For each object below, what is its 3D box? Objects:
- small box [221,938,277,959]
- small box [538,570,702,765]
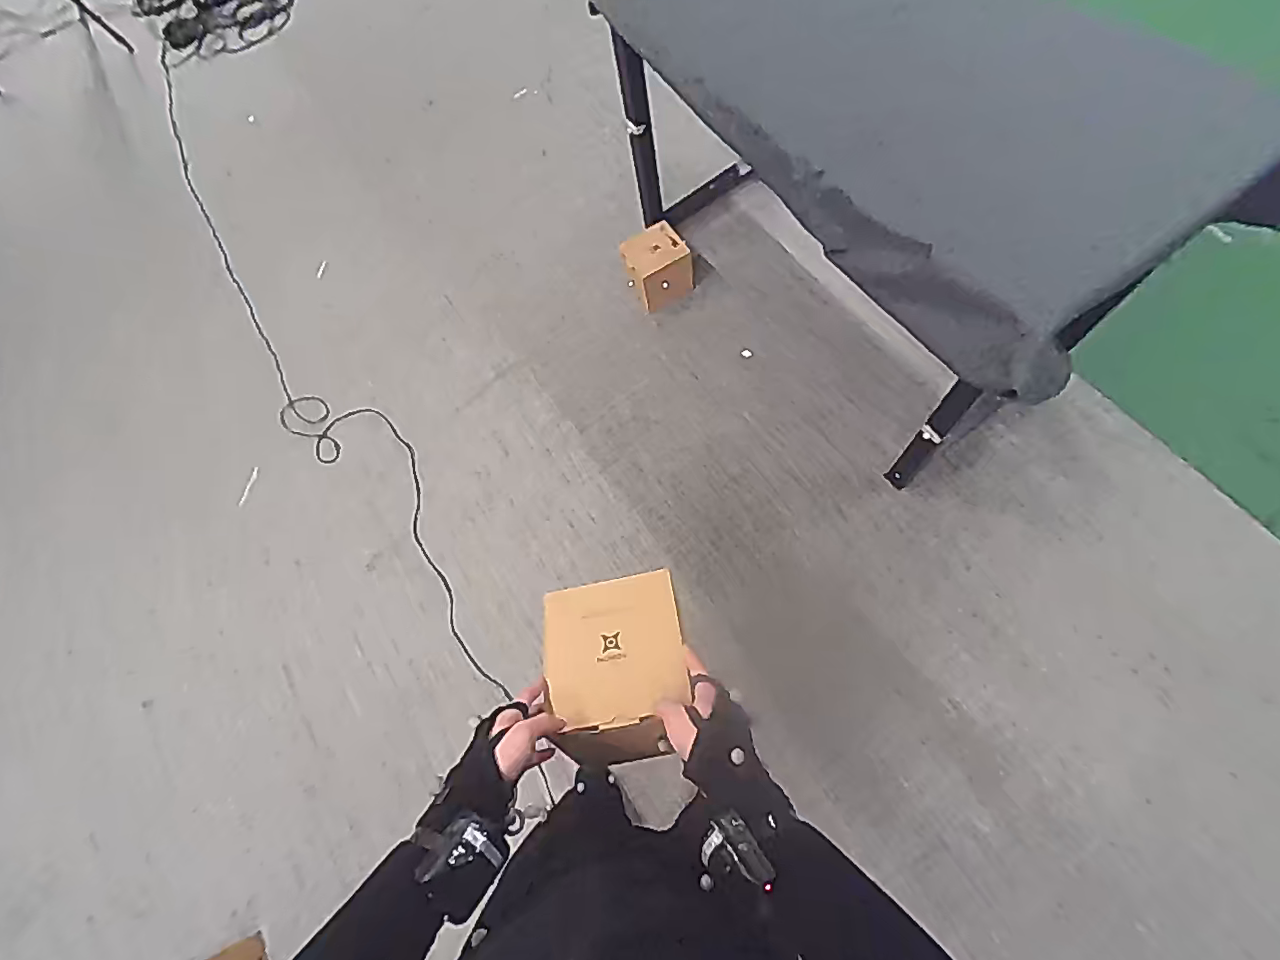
[{"bbox_3d":[-0.941,1.185,1.204,0.179,0.176,0.168,-33,67,-5],"label":"small box"},{"bbox_3d":[-0.023,0.245,0.686,0.168,0.176,0.179,-13,48,3],"label":"small box"}]
